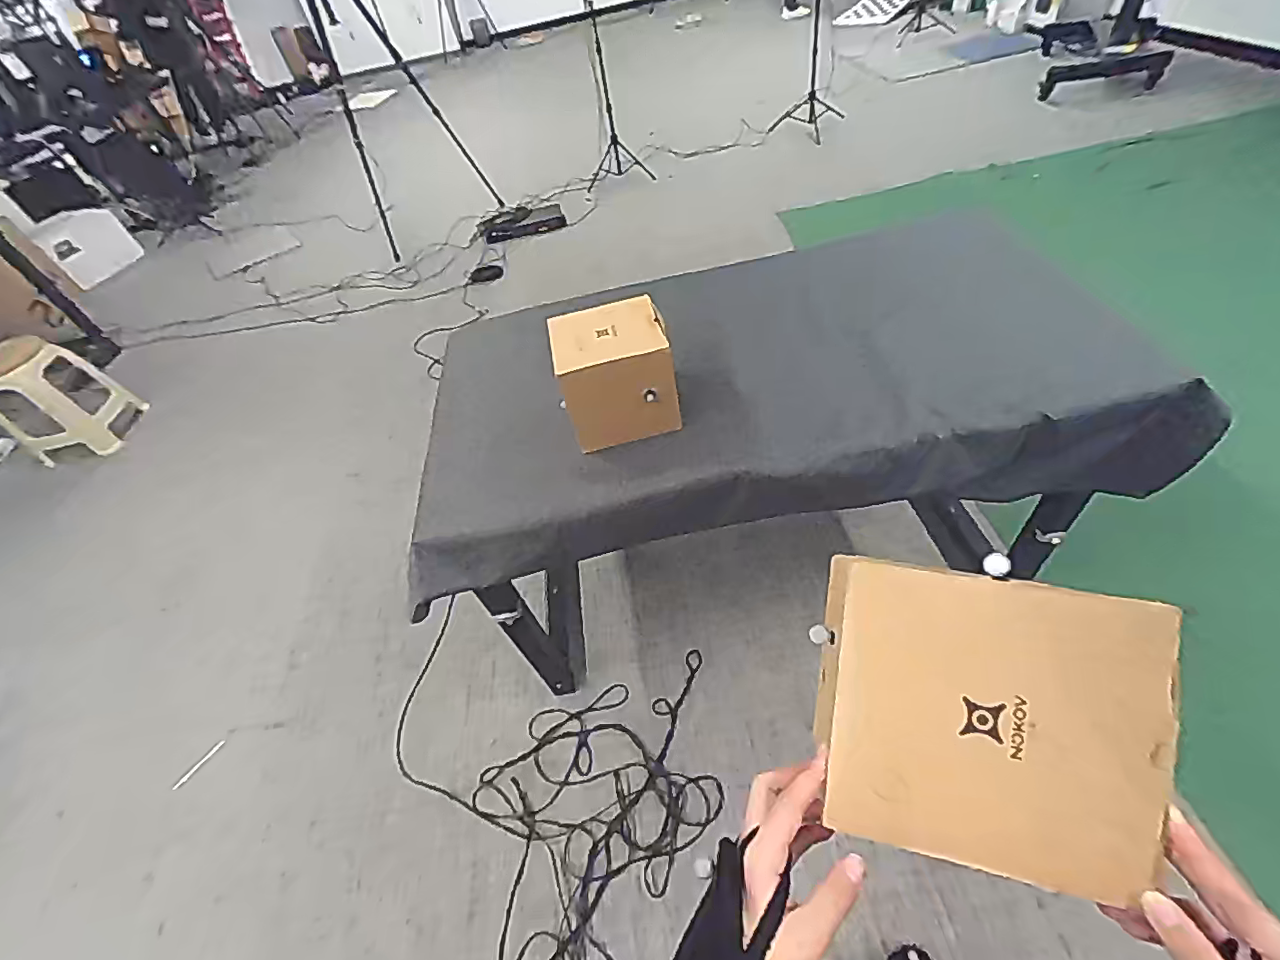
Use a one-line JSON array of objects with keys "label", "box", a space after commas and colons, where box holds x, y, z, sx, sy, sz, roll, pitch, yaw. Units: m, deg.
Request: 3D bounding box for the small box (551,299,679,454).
[{"label": "small box", "box": [-0.038, -0.170, 0.903, 0.179, 0.176, 0.168, -15, 46, 0]}]

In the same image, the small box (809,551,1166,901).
[{"label": "small box", "box": [0.223, 0.147, 0.396, 0.179, 0.176, 0.168, 6, 84, 16]}]
